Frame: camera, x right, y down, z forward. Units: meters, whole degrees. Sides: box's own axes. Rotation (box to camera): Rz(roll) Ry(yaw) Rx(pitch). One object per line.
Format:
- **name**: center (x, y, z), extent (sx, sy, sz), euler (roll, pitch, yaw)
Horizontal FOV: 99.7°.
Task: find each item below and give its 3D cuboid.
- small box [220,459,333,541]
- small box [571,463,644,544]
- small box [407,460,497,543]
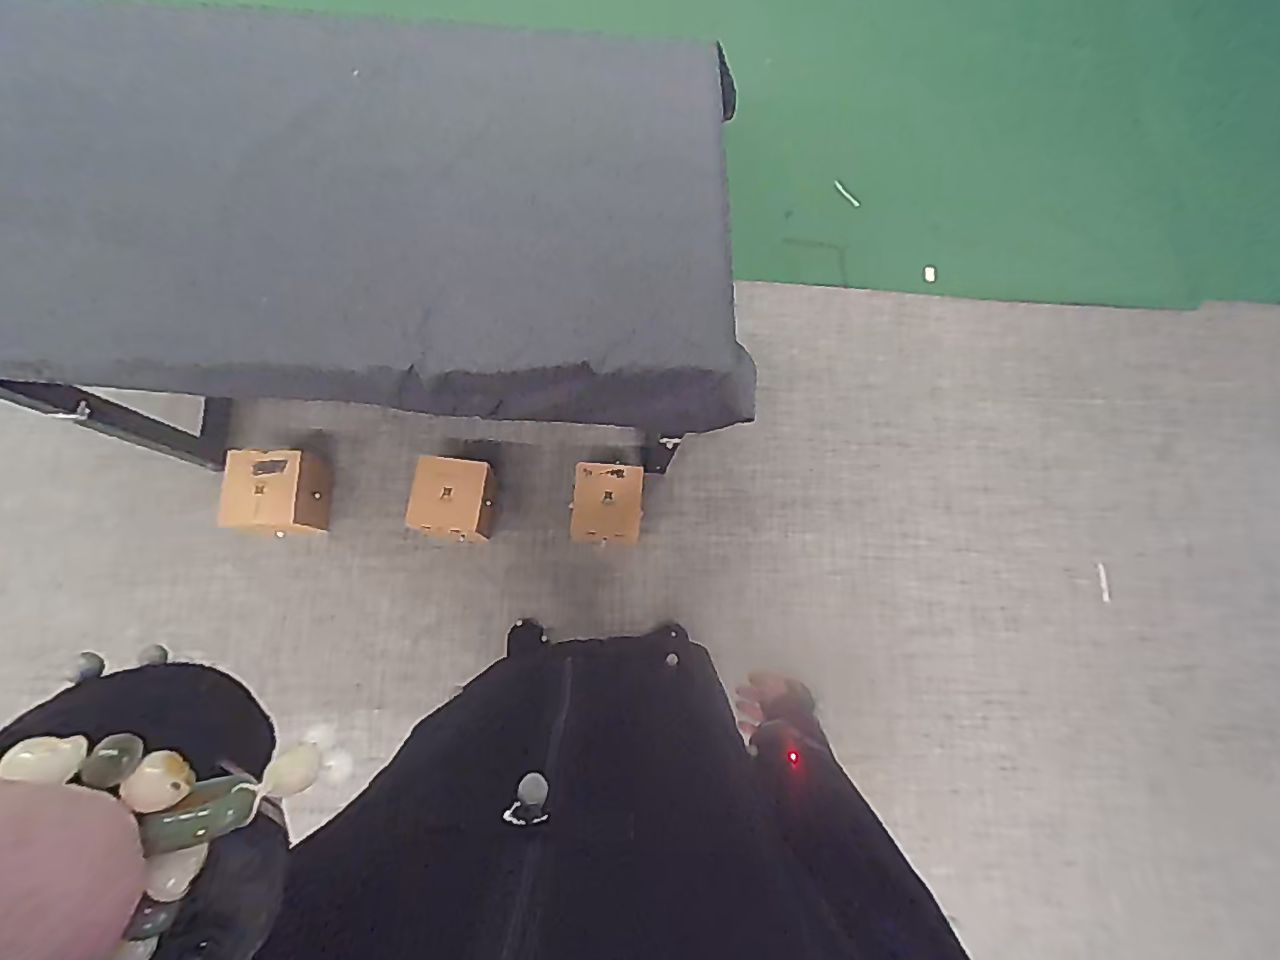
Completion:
- **small box**: center (-0.873, 0.053, 1.317), extent (0.168, 0.176, 0.179), euler (-1, 79, -4)
- **small box**: center (-0.082, 0.066, 1.380), extent (0.168, 0.176, 0.179), euler (4, 76, -4)
- **small box**: center (-0.460, 0.061, 1.351), extent (0.168, 0.176, 0.179), euler (5, 76, -5)
